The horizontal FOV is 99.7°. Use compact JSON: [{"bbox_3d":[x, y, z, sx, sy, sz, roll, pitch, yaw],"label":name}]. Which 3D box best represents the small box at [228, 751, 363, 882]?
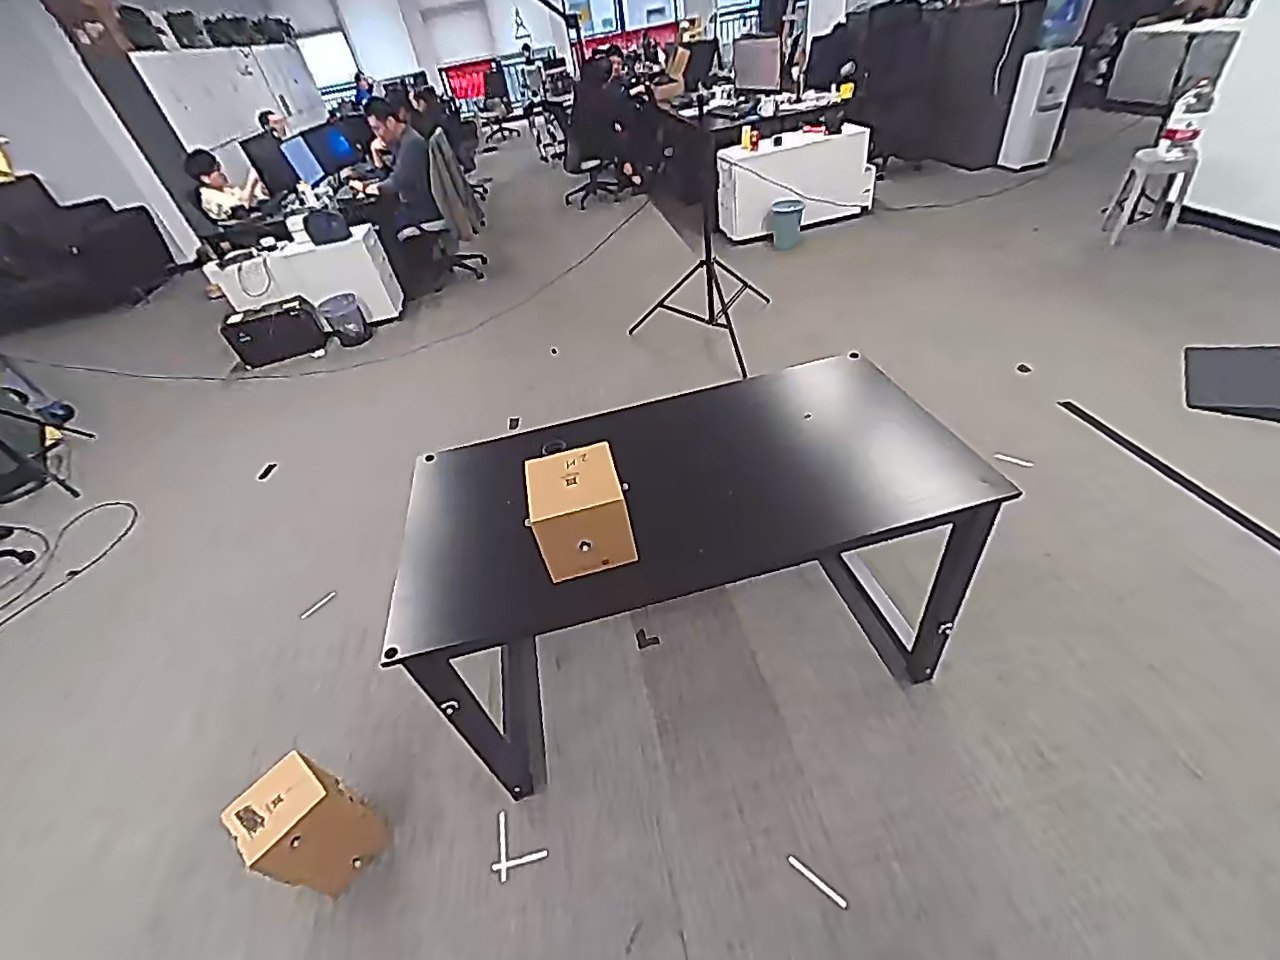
[{"bbox_3d":[-0.787,0.778,1.247,0.168,0.176,0.179,23,51,33],"label":"small box"}]

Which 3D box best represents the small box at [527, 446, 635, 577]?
[{"bbox_3d":[-0.112,0.067,1.043,0.168,0.176,0.179,-14,40,-4],"label":"small box"}]

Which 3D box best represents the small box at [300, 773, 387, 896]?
[{"bbox_3d":[-0.771,0.894,1.364,0.168,0.176,0.179,22,50,32],"label":"small box"}]
